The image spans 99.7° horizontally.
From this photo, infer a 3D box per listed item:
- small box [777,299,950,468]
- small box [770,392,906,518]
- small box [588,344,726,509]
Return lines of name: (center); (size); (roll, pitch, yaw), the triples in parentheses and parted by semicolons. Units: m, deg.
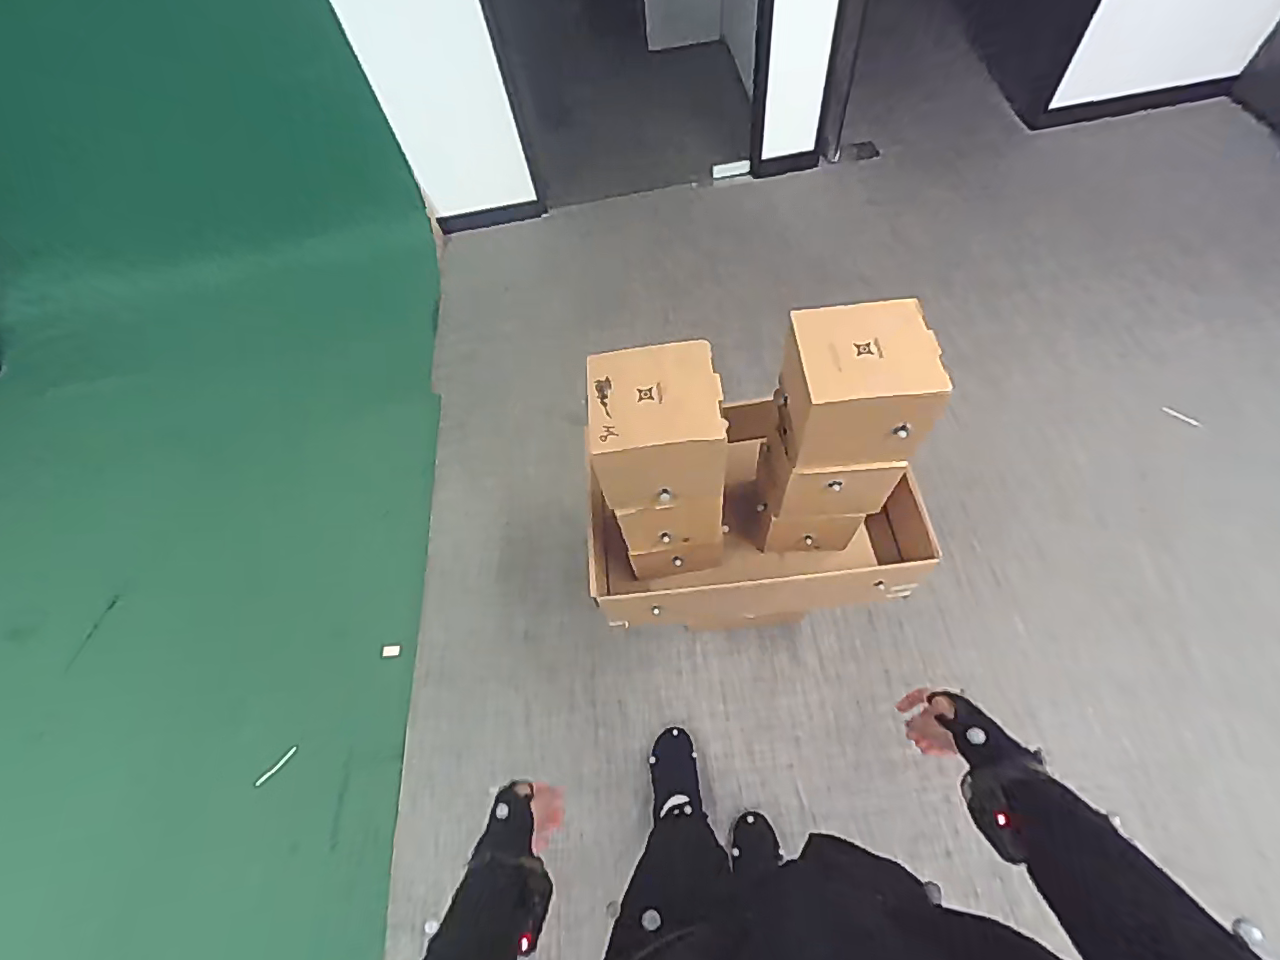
small box: (0.304, -0.132, 0.780); (0.179, 0.176, 0.168); (-5, 59, 6)
small box: (0.319, -0.043, 0.916); (0.179, 0.176, 0.168); (-4, 60, 5)
small box: (0.024, -0.071, 0.784); (0.179, 0.176, 0.168); (-6, 60, 4)
